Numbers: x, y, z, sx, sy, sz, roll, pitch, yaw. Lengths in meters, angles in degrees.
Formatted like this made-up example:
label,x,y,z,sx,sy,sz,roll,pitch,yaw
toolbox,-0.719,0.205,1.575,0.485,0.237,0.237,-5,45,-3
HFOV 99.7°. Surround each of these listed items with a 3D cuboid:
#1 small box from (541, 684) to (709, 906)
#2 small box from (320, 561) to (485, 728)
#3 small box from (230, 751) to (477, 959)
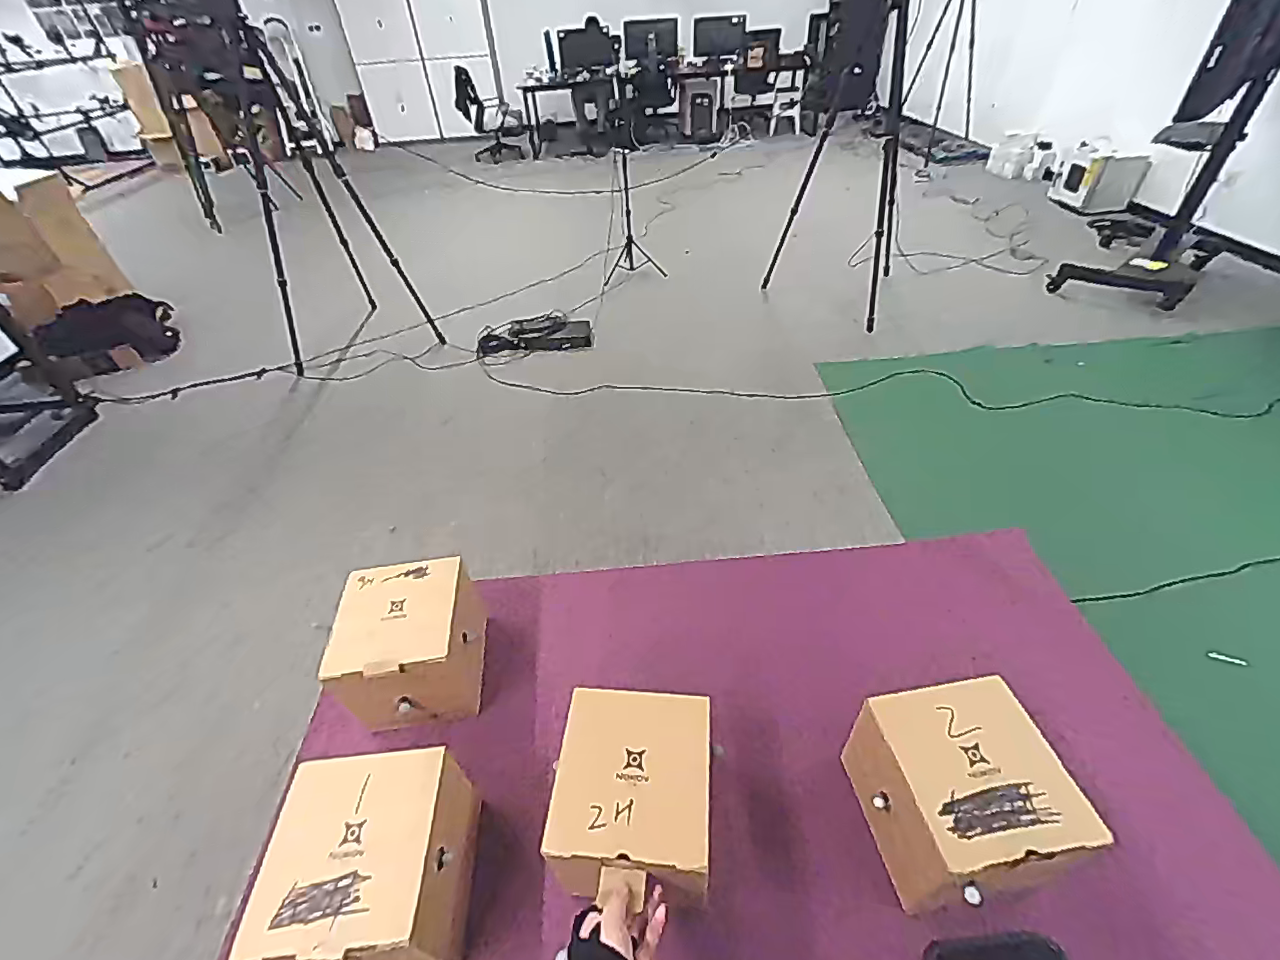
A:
label,x,y,z,sx,sy,sz,roll,pitch,yaw
small box,-0.004,0.370,0.640,0.168,0.176,0.179,1,42,8
small box,-0.335,0.249,0.806,0.168,0.176,0.179,-8,43,-4
small box,-0.290,0.432,0.600,0.168,0.176,0.179,-6,41,-2
